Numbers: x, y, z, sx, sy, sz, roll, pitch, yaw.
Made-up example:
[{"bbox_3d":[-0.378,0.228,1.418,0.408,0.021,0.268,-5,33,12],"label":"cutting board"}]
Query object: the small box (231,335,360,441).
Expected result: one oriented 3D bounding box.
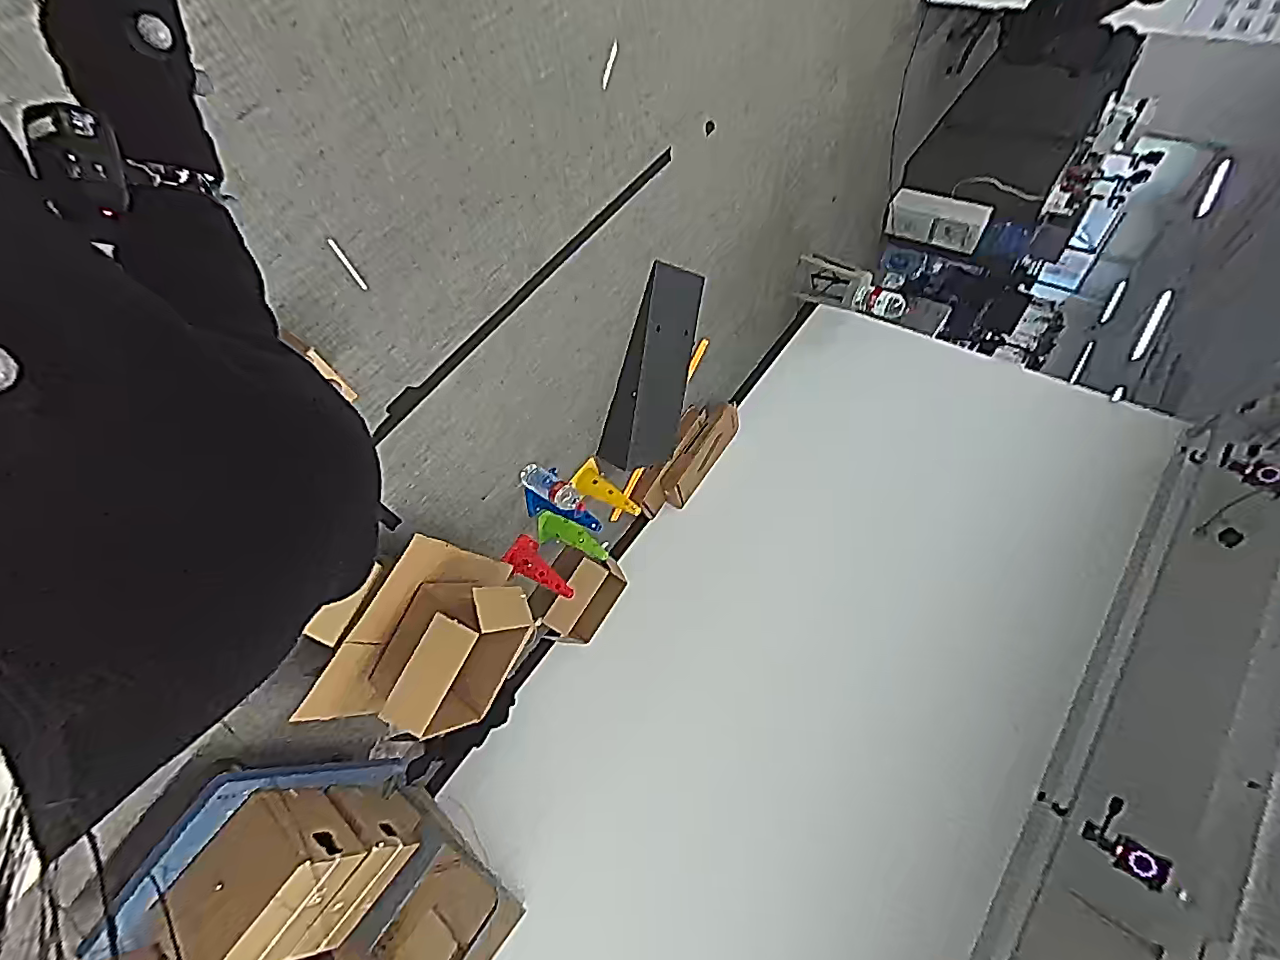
[{"bbox_3d":[-0.851,-0.234,1.336,0.168,0.176,0.179,-50,154,-17],"label":"small box"}]
